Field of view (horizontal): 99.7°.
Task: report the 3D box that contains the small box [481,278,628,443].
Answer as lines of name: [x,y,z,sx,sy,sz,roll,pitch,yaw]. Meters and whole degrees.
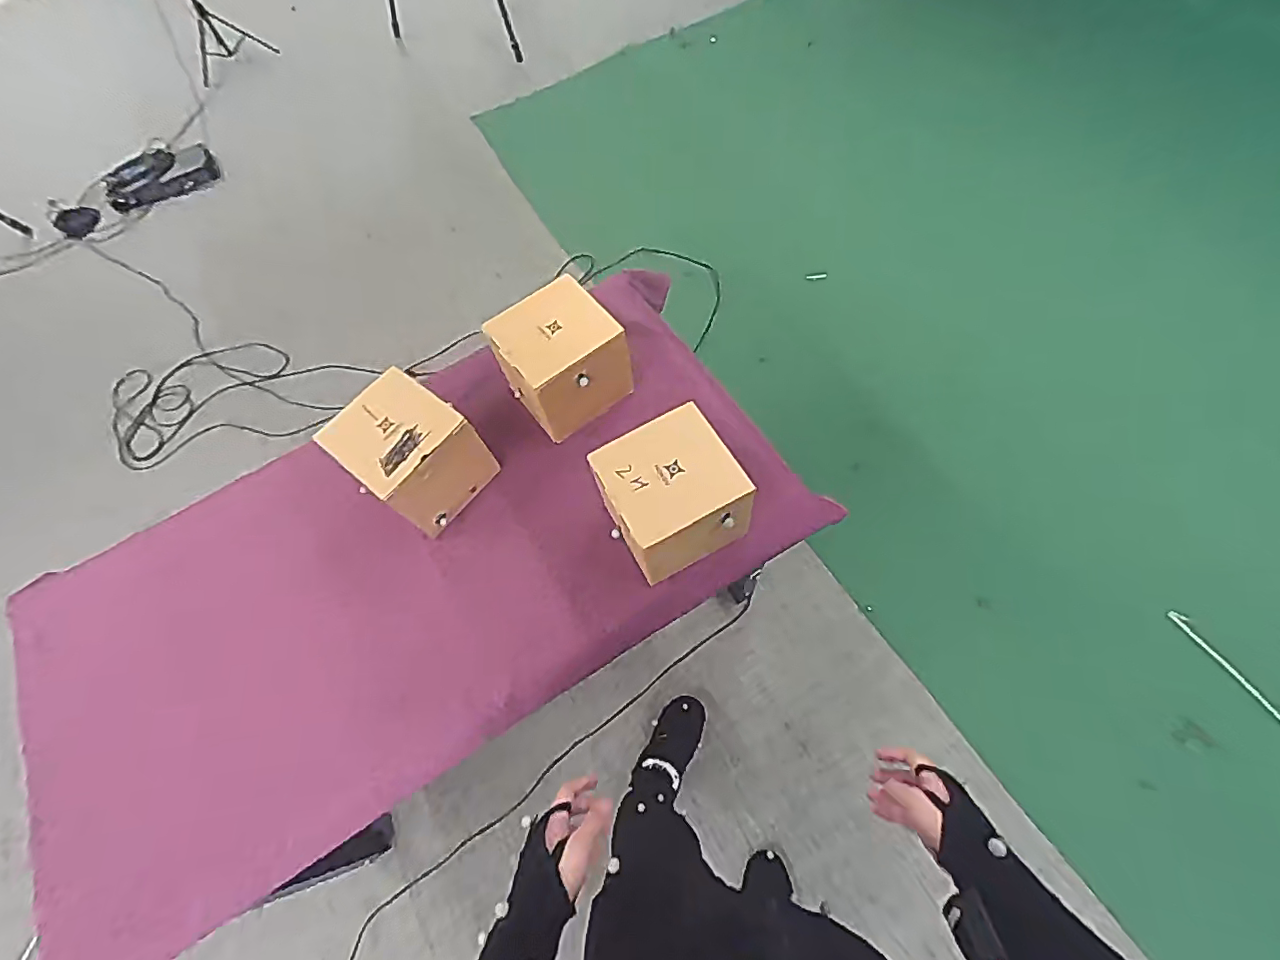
small box: [-0.133,-0.197,0.924,0.179,0.176,0.168,-37,67,-10]

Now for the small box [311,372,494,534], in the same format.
small box: [-0.366,-0.033,0.869,0.179,0.176,0.168,35,72,20]

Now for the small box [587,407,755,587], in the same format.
small box: [0.045,0.031,0.792,0.179,0.176,0.168,-28,63,-7]
